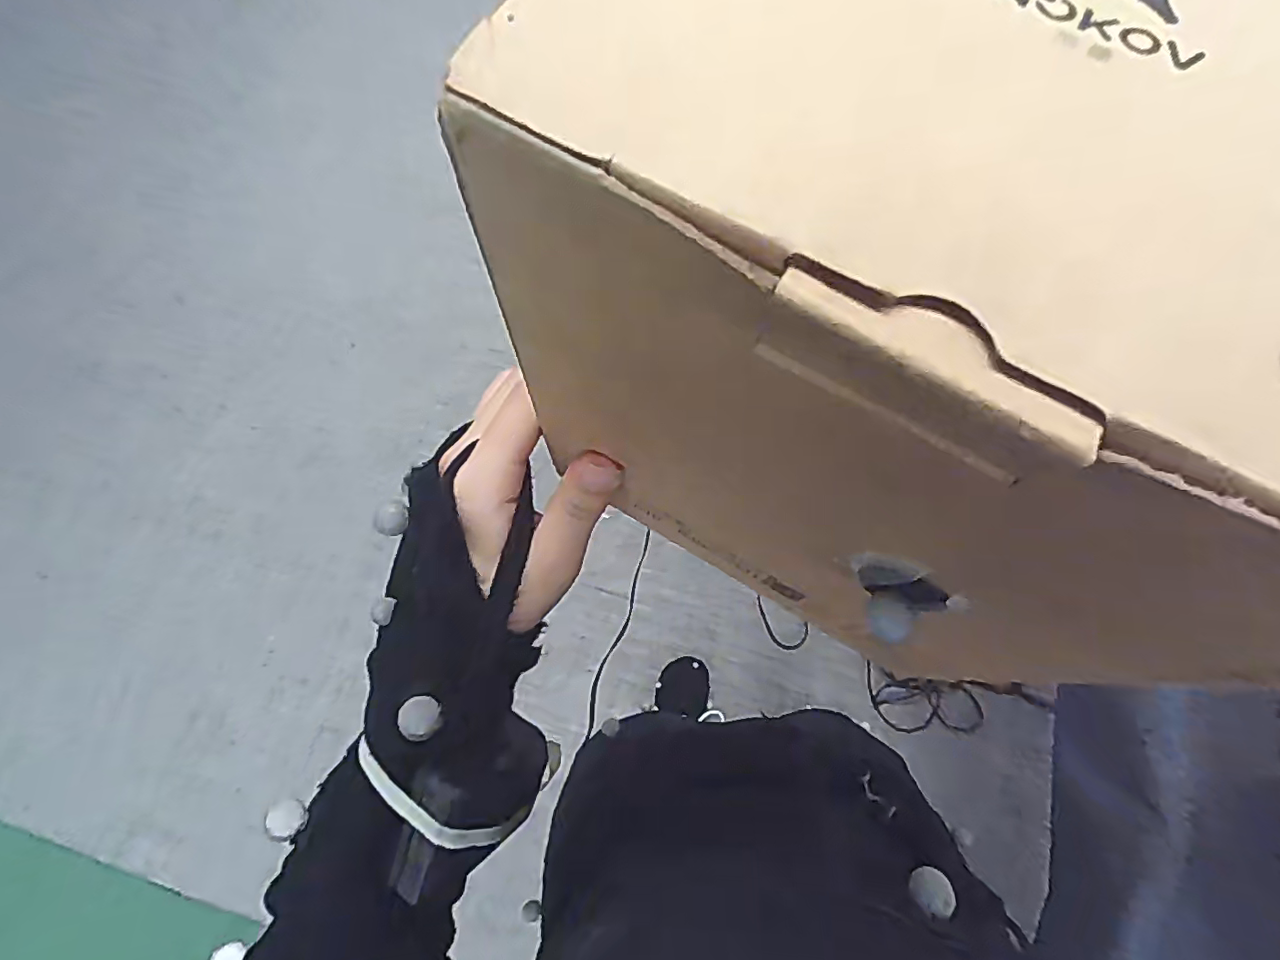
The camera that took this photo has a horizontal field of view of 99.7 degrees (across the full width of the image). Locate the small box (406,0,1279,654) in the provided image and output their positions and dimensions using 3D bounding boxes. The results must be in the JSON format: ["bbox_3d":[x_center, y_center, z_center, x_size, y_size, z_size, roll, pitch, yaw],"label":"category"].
[{"bbox_3d":[0.074,-0.061,0.169,0.168,0.176,0.179,30,72,7],"label":"small box"}]
